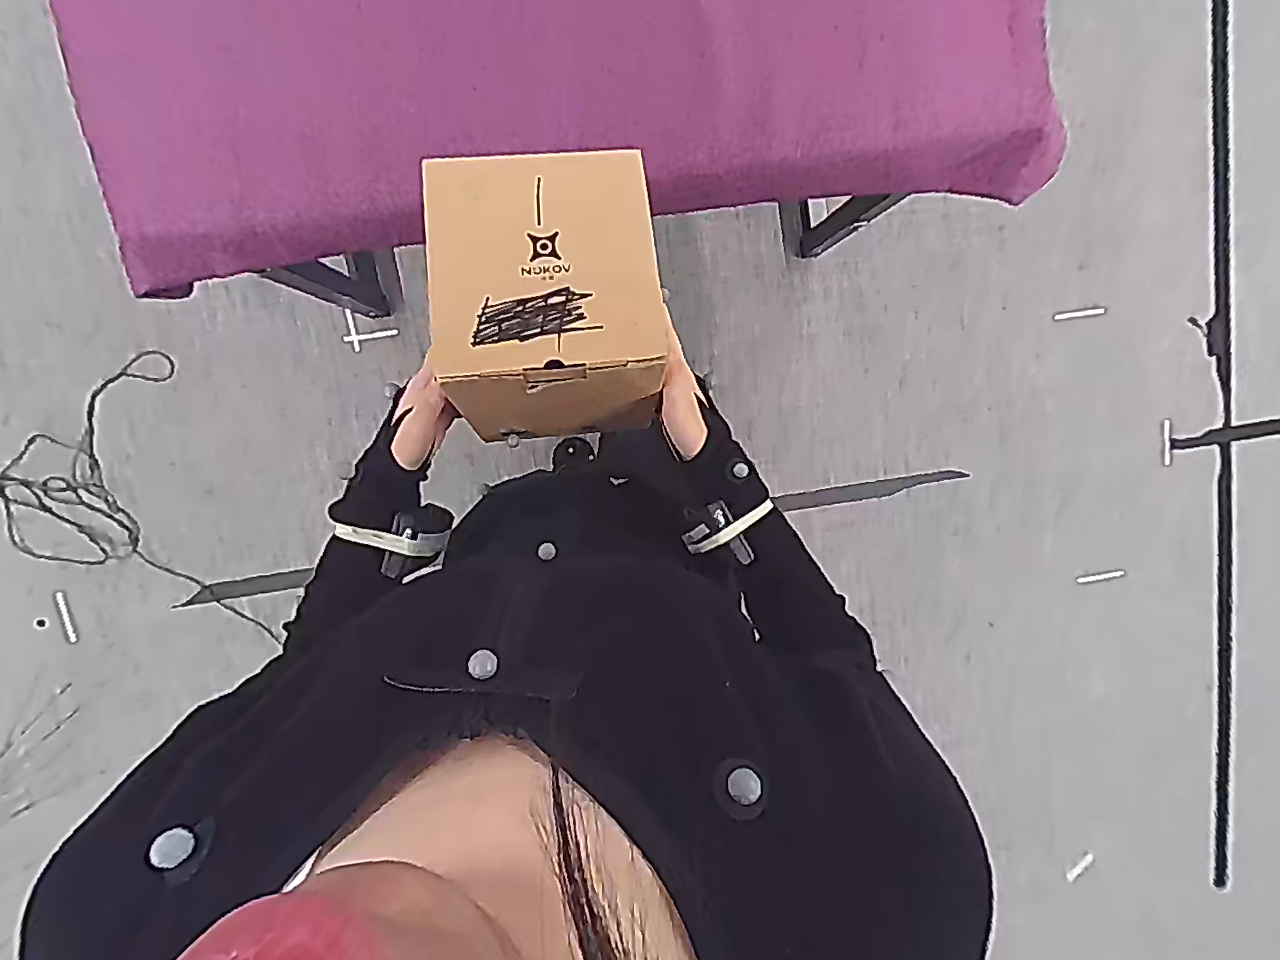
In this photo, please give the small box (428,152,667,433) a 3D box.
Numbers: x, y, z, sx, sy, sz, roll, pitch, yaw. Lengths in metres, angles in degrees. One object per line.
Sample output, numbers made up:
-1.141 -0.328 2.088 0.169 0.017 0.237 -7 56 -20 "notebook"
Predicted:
-0.074 -0.146 0.473 0.168 0.176 0.179 -6 78 -6 "small box"
